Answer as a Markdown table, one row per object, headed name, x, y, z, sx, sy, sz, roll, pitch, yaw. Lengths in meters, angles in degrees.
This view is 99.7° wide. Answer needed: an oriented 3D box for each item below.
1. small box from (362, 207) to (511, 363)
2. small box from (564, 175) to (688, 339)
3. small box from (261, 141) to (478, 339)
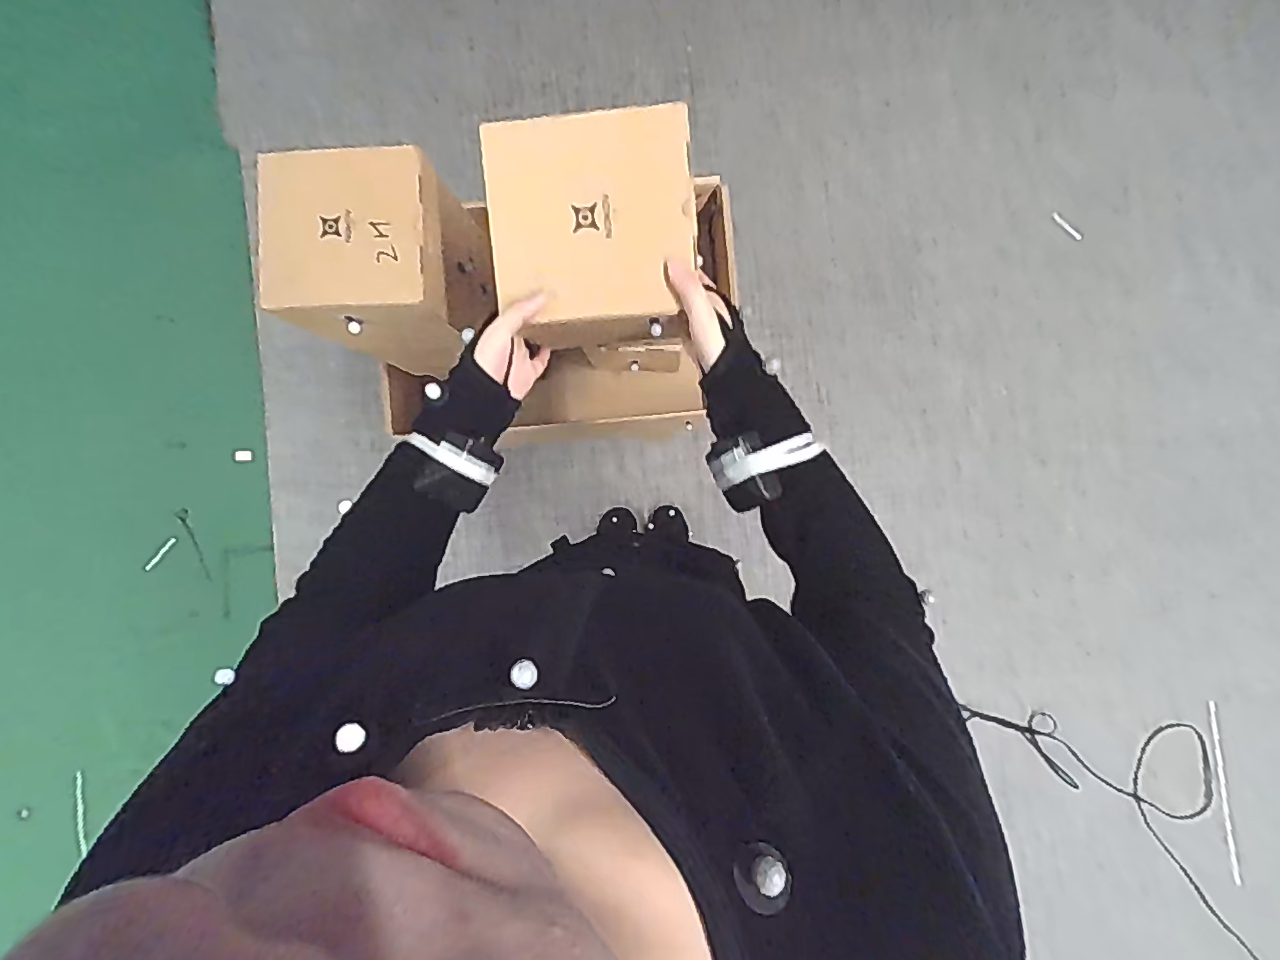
| name | x | y | z | sx | sy | sz | roll | pitch | yaw |
| --- | --- | --- | --- | --- | --- | --- | --- | --- | --- |
| small box | -0.298 | -0.277 | 0.808 | 0.168 | 0.176 | 0.179 | -4 | 89 | 3 |
| small box | -0.013 | -0.311 | 0.791 | 0.168 | 0.176 | 0.179 | -1 | 89 | 3 |
| small box | -0.308 | -0.269 | 0.644 | 0.179 | 0.176 | 0.168 | -1 | 90 | 3 |
